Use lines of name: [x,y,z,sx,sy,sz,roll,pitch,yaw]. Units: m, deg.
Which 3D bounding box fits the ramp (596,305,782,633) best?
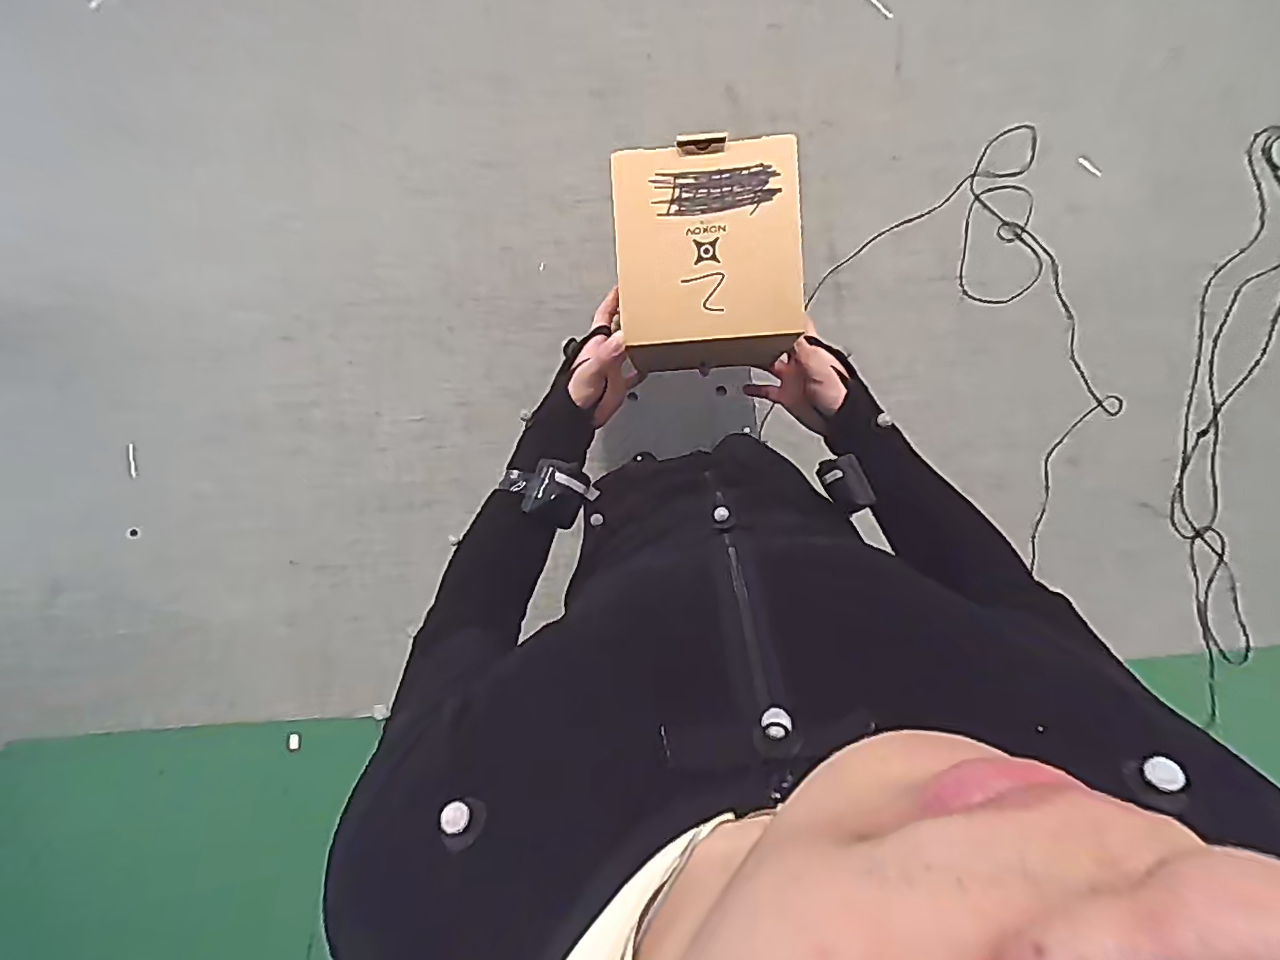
ramp: [0.139,-0.055,1.672,0.509,0.206,0.991,-6,92,-1]
